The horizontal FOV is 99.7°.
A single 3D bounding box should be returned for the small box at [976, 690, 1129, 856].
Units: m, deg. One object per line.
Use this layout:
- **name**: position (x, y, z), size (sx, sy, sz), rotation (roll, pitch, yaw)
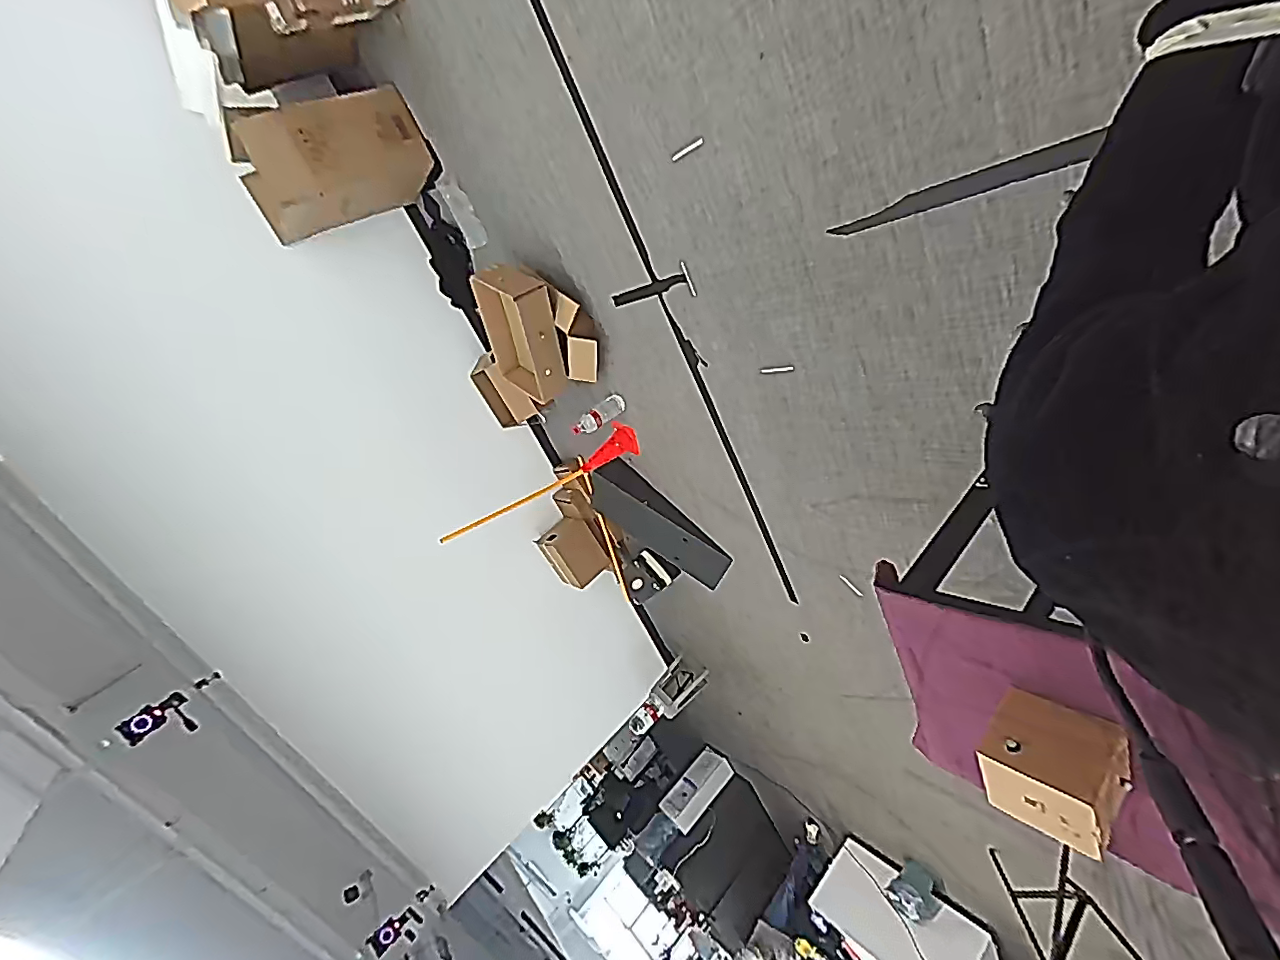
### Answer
- **small box**: position (0.754, 0.519, 0.989), size (0.179, 0.176, 0.168), rotation (10, 133, 53)
